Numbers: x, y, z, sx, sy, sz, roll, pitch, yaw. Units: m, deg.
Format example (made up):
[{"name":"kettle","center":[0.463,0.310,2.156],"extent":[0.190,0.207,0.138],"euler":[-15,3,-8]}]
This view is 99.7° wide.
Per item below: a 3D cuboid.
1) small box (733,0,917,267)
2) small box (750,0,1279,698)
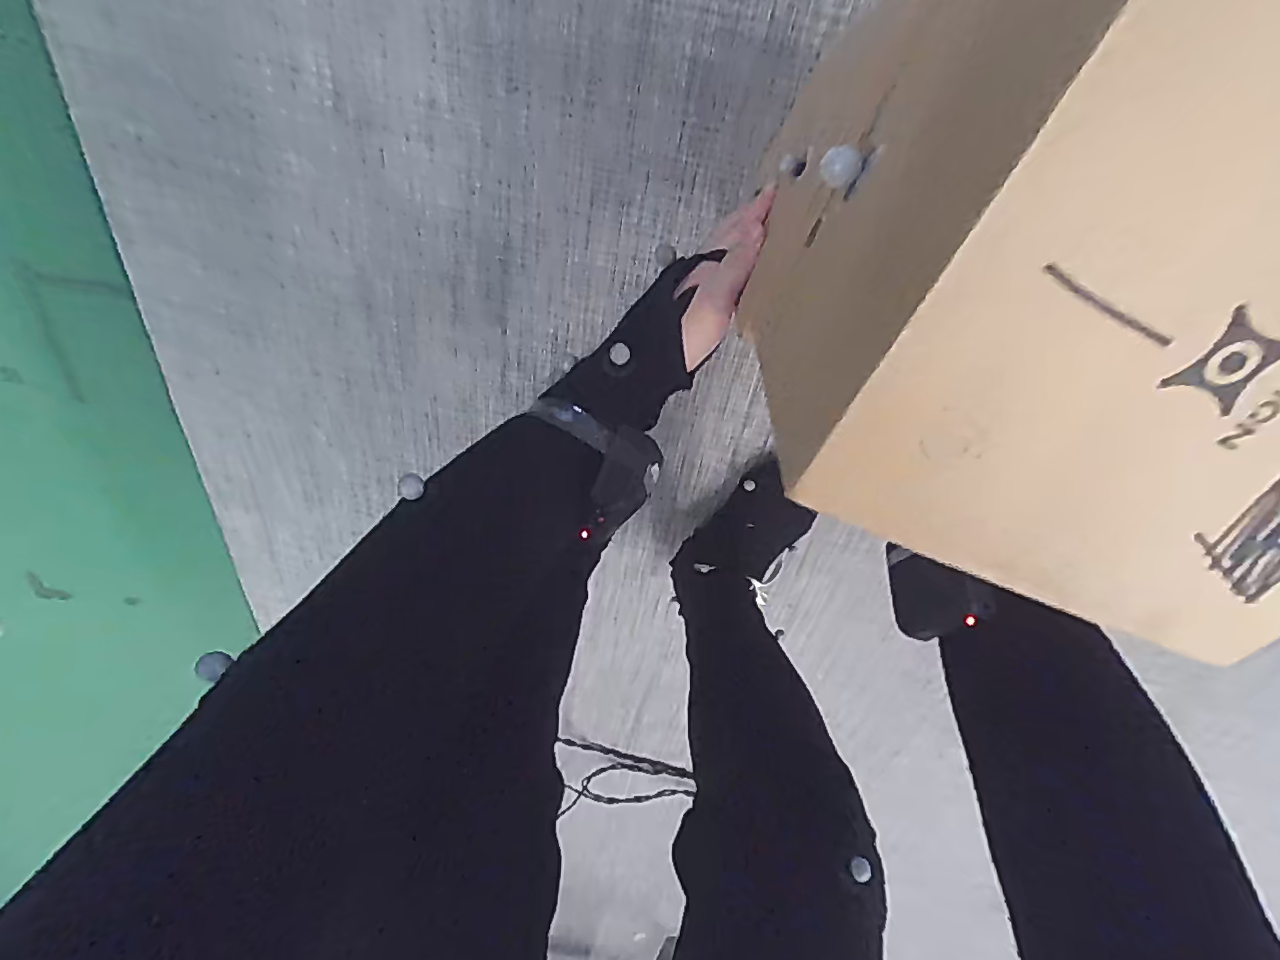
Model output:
[{"name":"small box","center":[0.194,-0.249,0.457],"extent":[0.168,0.176,0.179],"euler":[28,121,-10]},{"name":"small box","center":[0.154,-0.066,0.185],"extent":[0.179,0.176,0.168],"euler":[24,124,-6]}]
